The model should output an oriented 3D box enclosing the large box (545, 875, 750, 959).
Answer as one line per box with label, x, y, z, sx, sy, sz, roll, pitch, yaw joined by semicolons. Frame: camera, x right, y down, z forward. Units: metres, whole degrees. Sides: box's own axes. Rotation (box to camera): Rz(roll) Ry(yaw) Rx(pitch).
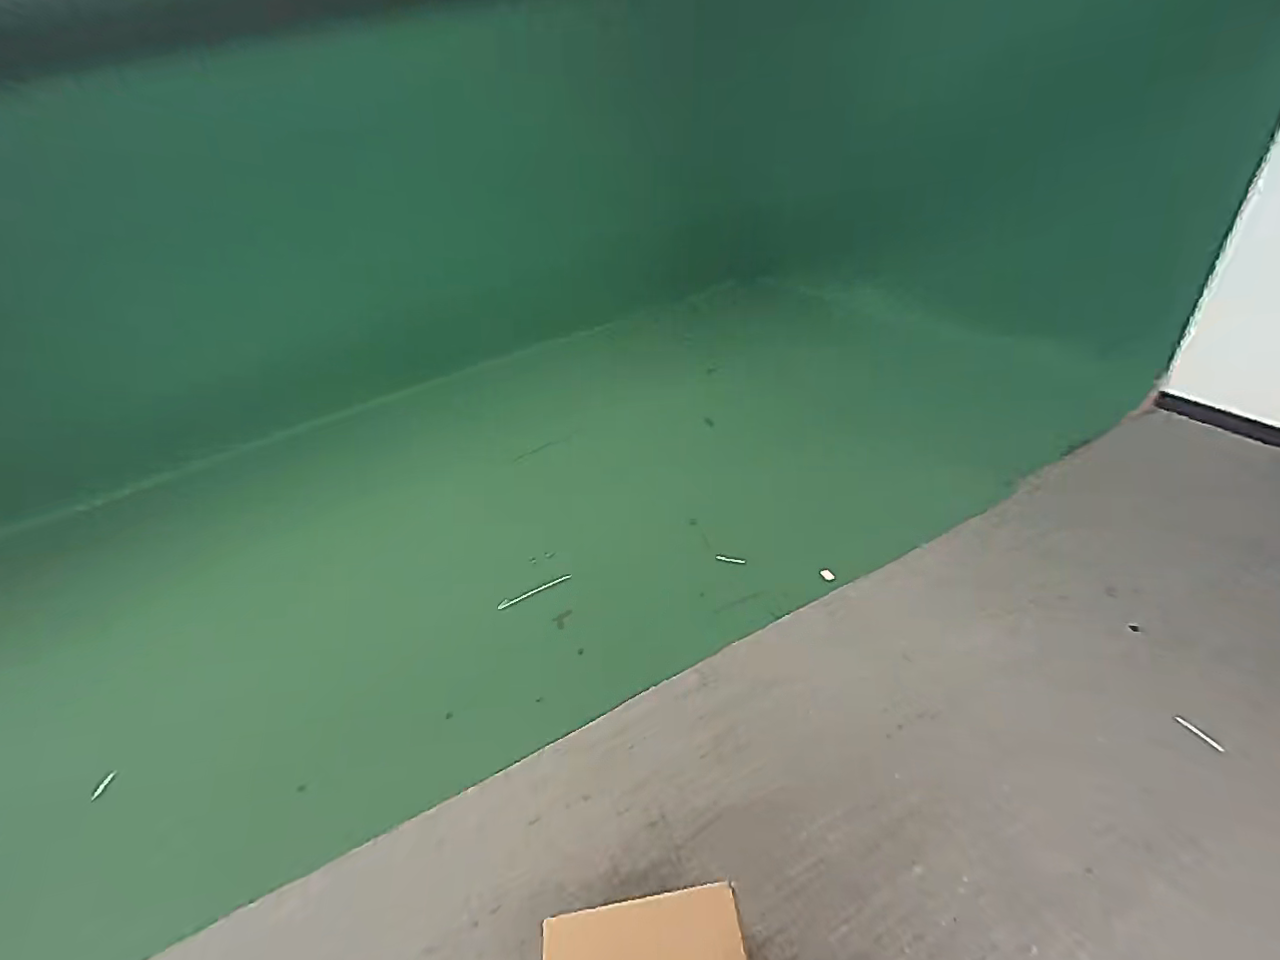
large box;0.039;1.078;1.098;0.408;0.320;0.320;-12;36;1
